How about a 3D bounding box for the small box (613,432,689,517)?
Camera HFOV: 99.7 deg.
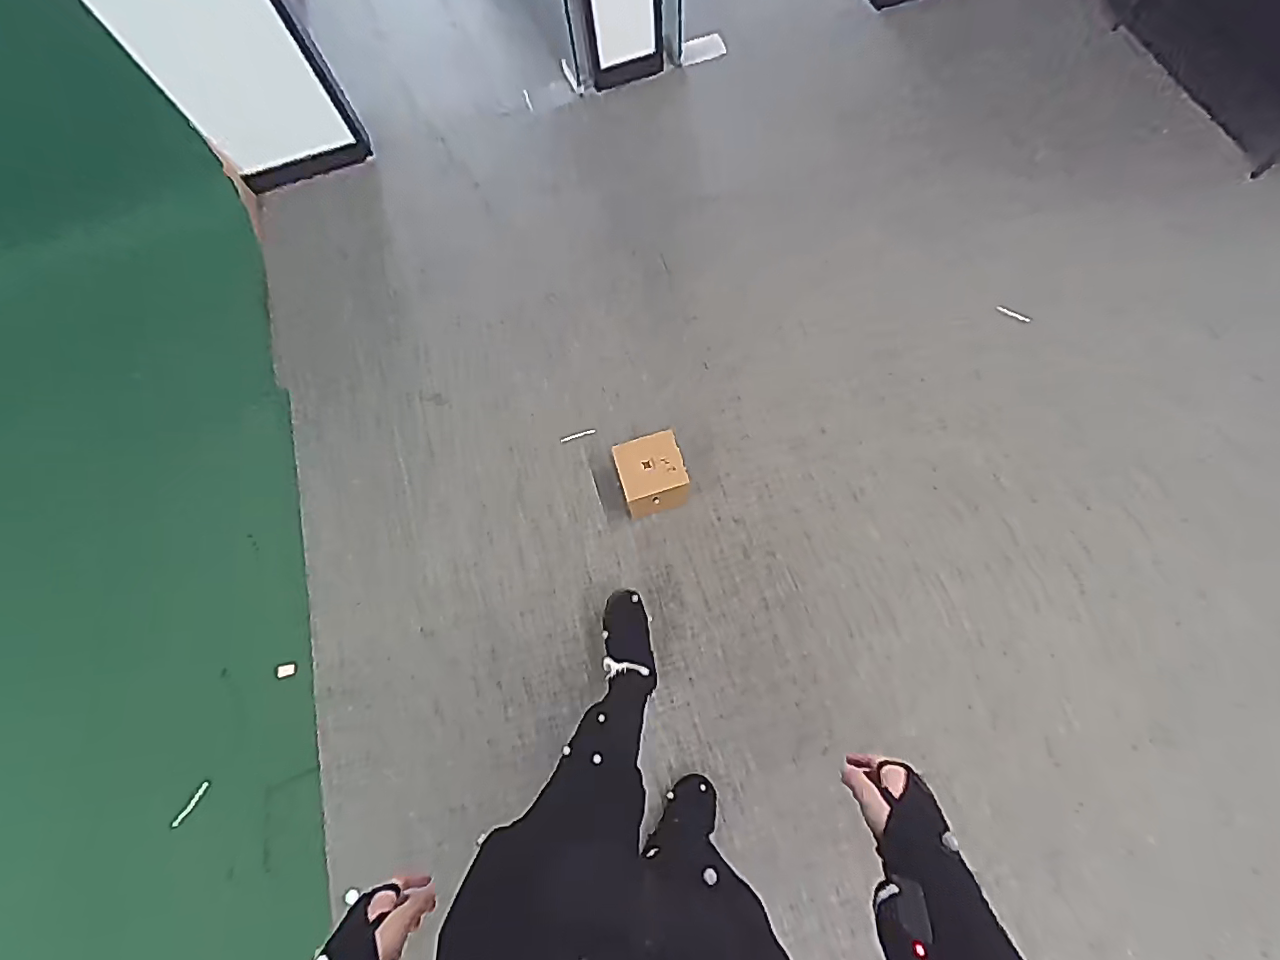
[{"bbox_3d":[0.034,-0.009,1.524,0.179,0.176,0.168,-16,70,-2],"label":"small box"}]
